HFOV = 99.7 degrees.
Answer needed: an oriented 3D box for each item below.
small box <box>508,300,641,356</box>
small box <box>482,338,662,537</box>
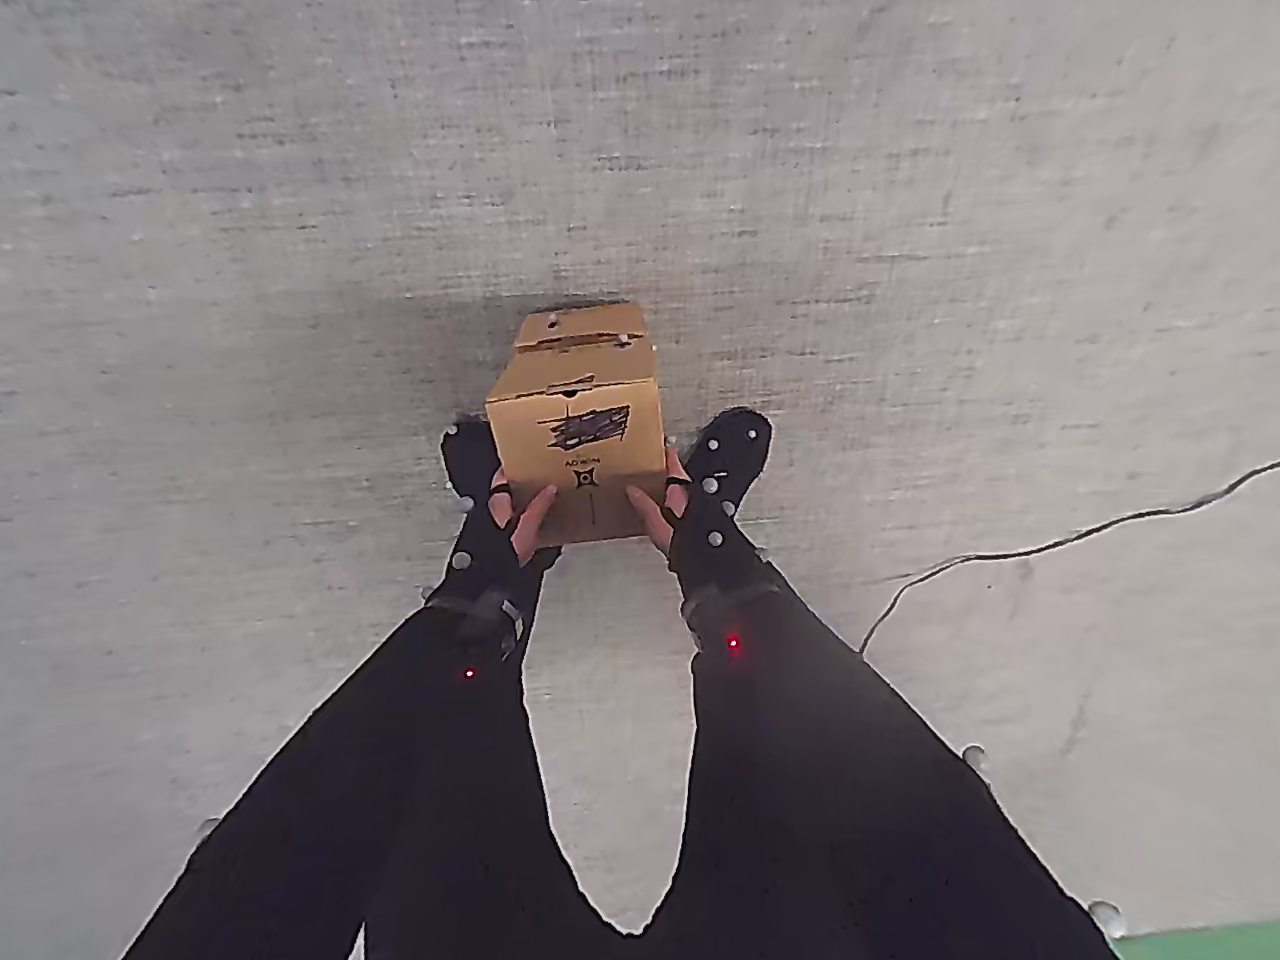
[{"bbox_3d":[-0.081,-0.149,0.769,0.168,0.176,0.179,-6,122,0],"label":"small box"},{"bbox_3d":[-0.068,-0.059,0.628,0.168,0.176,0.179,-6,119,2],"label":"small box"}]
